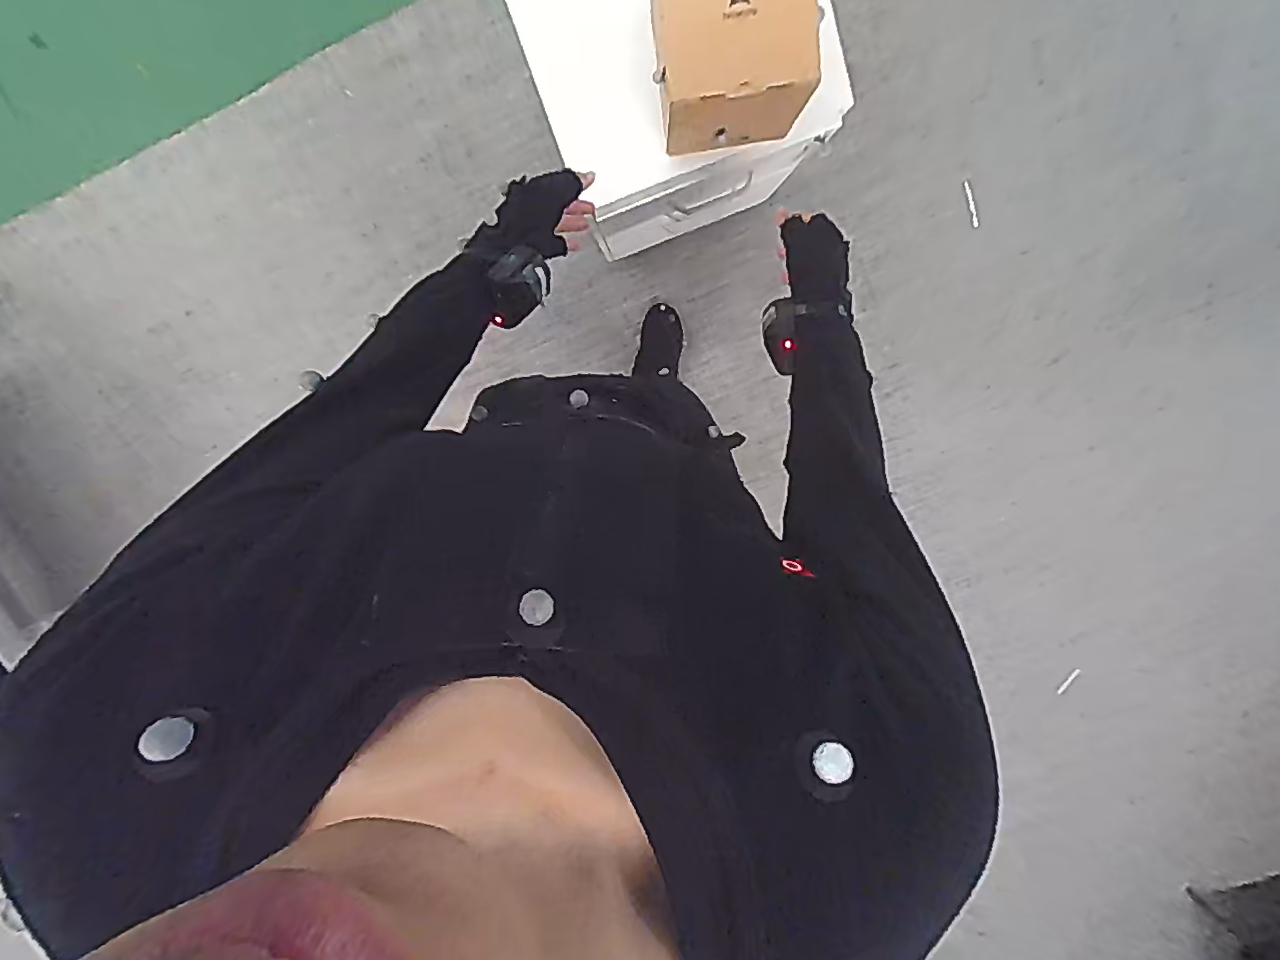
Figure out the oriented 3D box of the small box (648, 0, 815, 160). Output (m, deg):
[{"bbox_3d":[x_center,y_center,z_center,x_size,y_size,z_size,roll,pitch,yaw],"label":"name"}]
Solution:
[{"bbox_3d":[0.100,-0.515,0.646,0.168,0.176,0.179,-7,104,3],"label":"small box"}]
